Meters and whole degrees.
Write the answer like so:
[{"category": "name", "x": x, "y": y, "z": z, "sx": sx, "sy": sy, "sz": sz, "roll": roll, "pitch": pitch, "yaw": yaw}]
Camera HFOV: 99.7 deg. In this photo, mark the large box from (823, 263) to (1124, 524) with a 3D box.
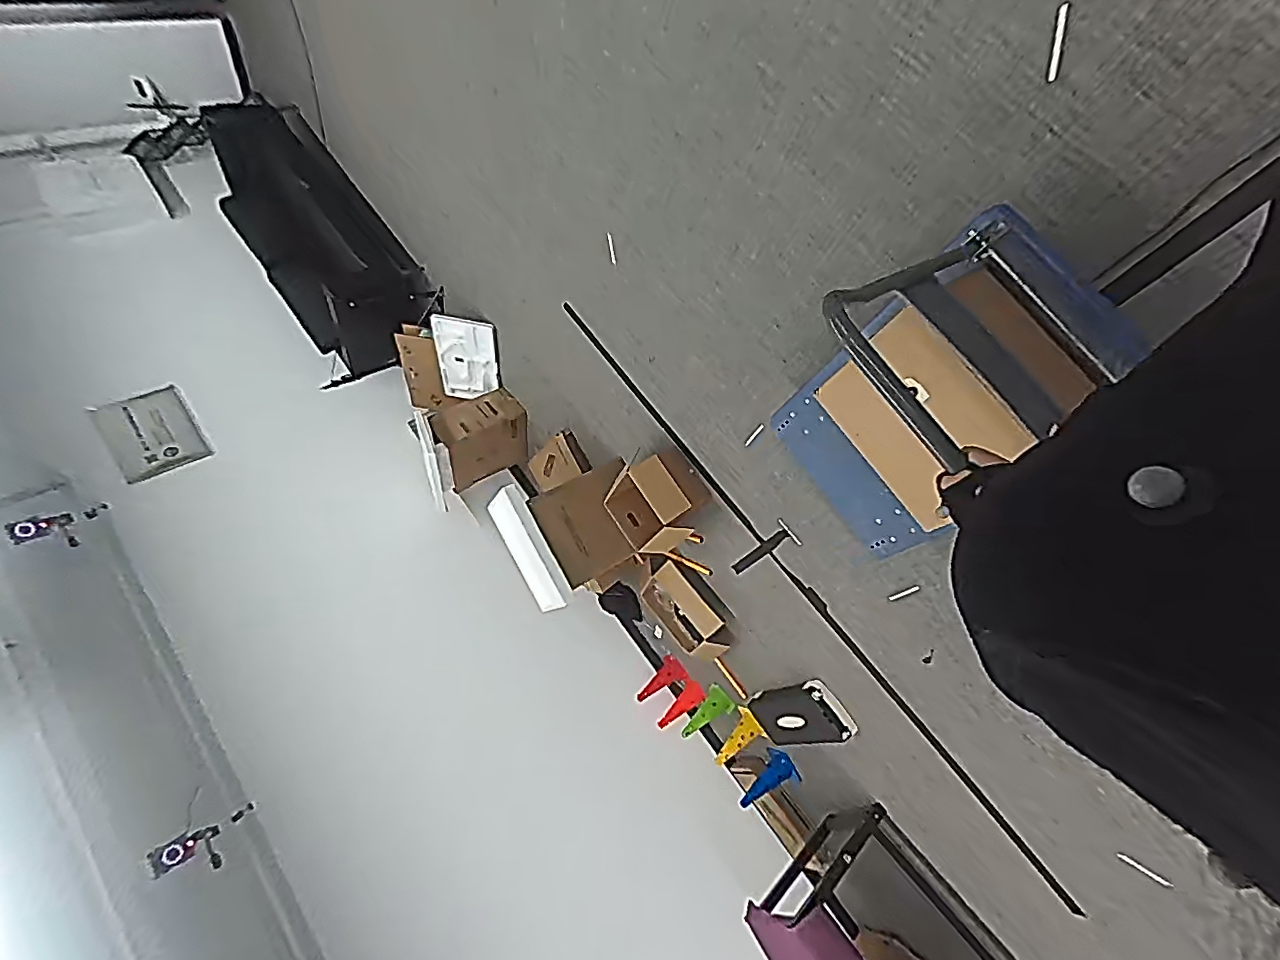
[{"category": "large box", "x": 0.698, "y": -0.183, "z": 1.168, "sx": 0.408, "sy": 0.320, "sz": 0.320, "roll": 55, "pitch": 149, "yaw": 11}]
